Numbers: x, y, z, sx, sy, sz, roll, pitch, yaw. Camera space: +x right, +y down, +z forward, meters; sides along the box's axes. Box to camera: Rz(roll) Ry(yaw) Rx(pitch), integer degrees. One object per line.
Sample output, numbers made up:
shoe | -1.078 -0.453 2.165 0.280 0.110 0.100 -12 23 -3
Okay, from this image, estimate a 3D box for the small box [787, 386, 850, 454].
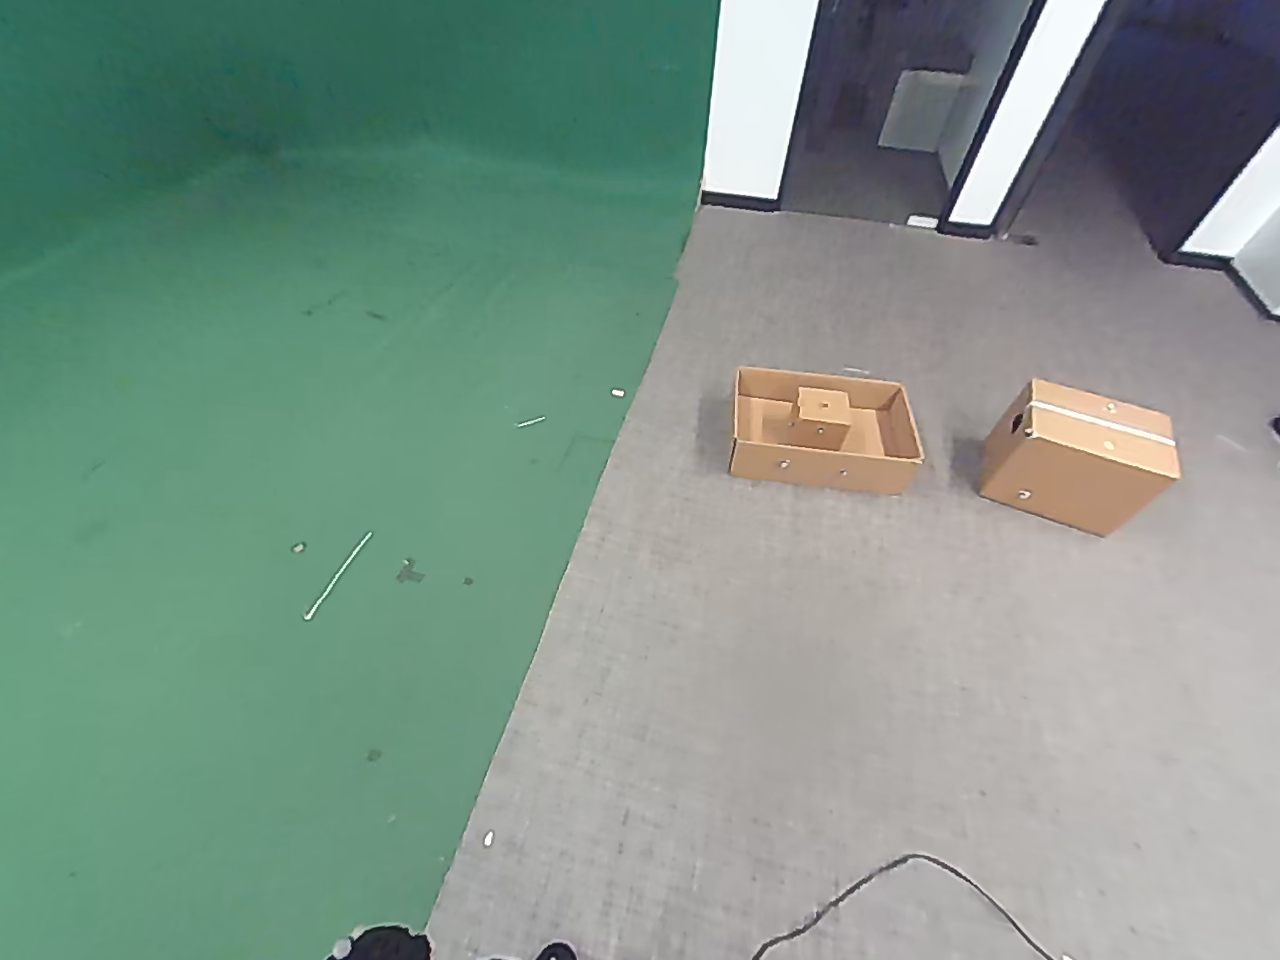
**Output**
small box | 0.631 -0.212 1.936 0.179 0.176 0.168 9 51 3
